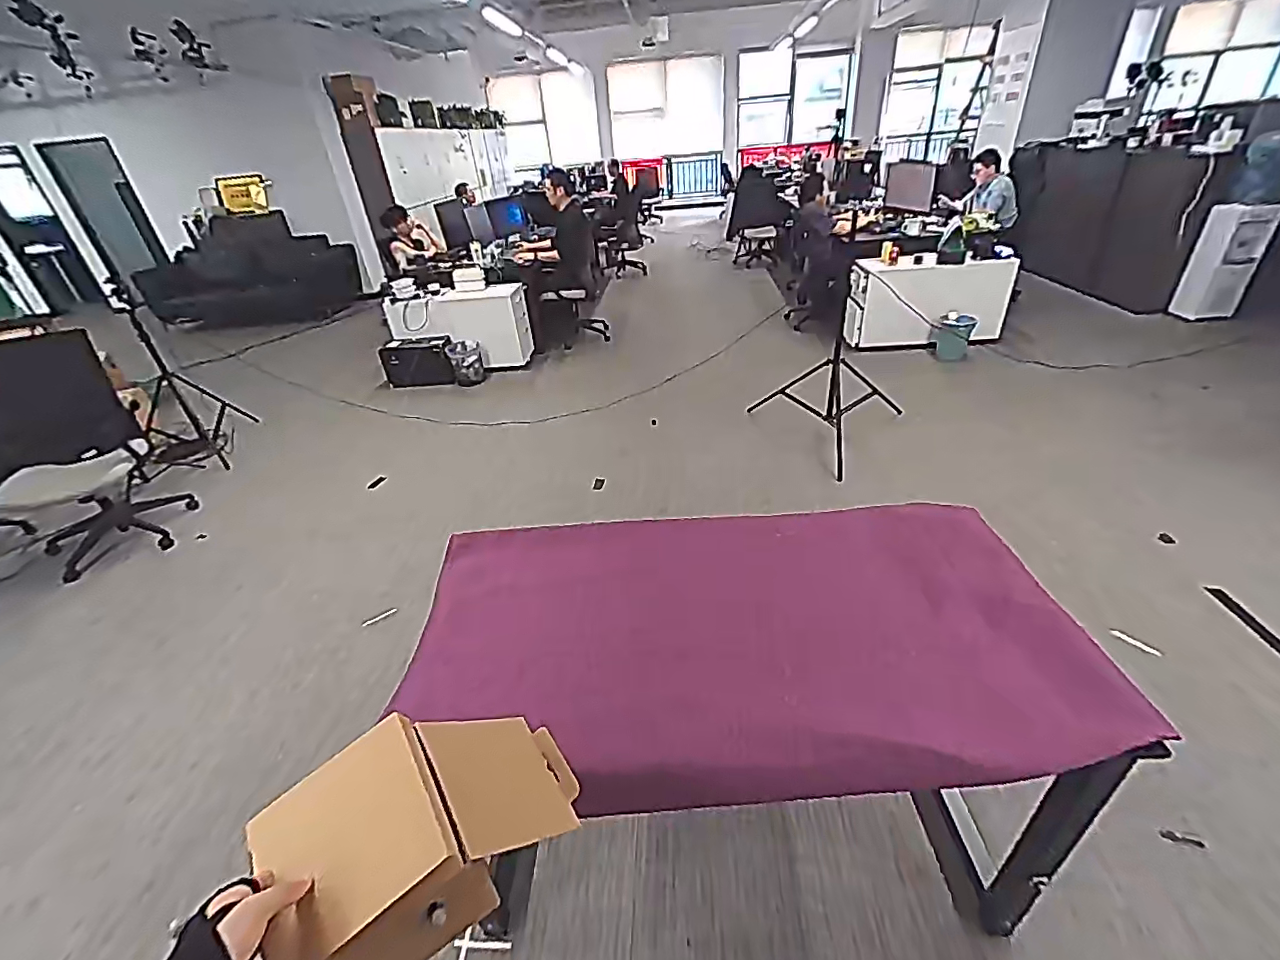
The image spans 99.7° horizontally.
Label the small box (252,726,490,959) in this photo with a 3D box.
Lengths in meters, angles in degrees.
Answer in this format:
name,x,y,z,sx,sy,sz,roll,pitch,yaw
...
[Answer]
name,x,y,z,sx,sy,sz,roll,pitch,yaw
small box,-0.277,0.414,0.585,0.179,0.176,0.168,-25,46,-25
